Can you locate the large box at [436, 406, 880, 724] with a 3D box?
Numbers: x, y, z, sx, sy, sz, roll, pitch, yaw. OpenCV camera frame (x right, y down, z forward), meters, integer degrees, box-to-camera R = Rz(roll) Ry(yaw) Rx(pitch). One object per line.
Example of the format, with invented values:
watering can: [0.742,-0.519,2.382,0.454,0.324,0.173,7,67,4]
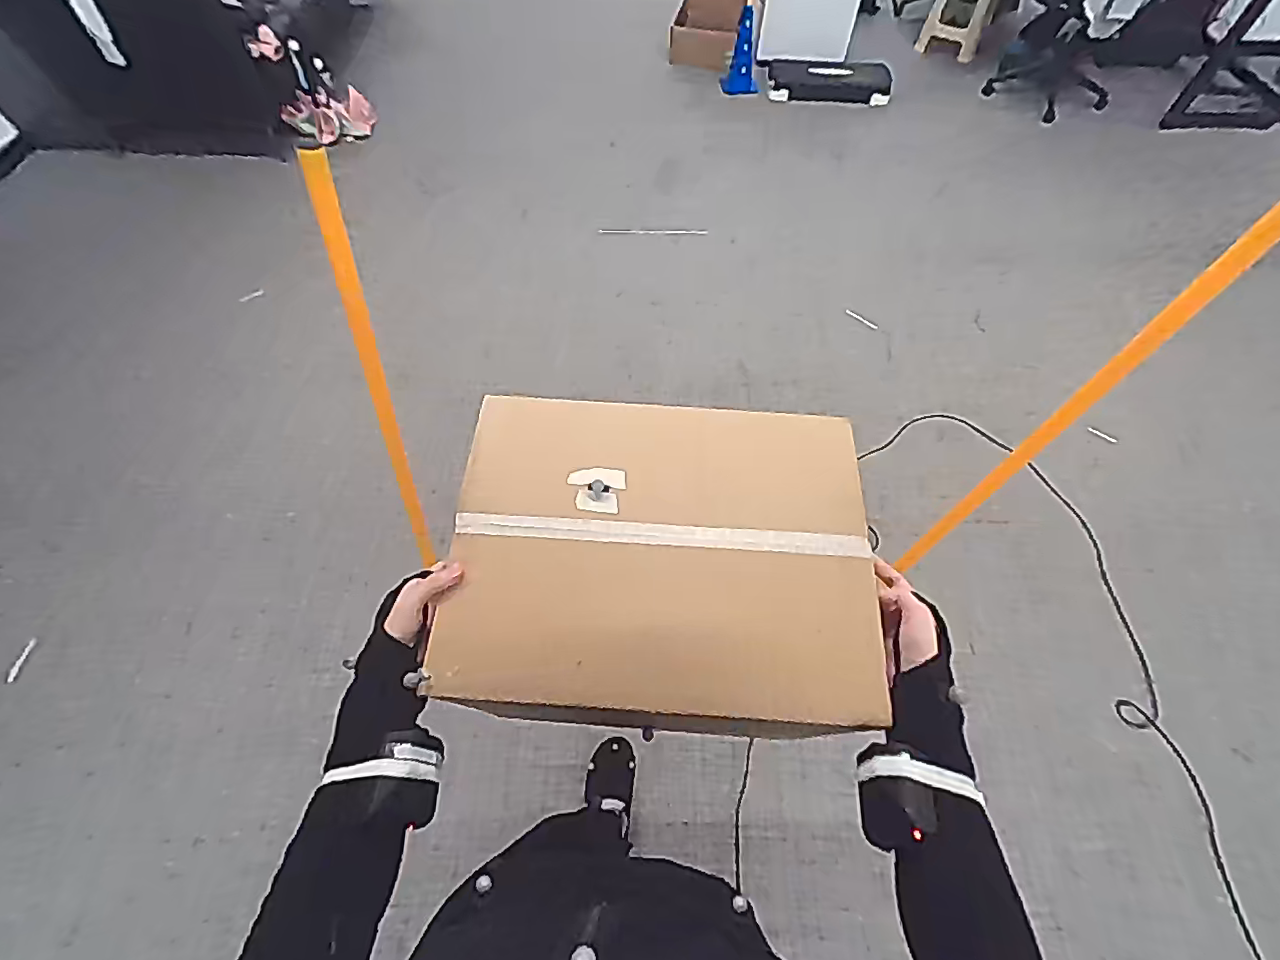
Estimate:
large box: [0.024,0.126,0.677,0.408,0.320,0.320,3,62,2]
